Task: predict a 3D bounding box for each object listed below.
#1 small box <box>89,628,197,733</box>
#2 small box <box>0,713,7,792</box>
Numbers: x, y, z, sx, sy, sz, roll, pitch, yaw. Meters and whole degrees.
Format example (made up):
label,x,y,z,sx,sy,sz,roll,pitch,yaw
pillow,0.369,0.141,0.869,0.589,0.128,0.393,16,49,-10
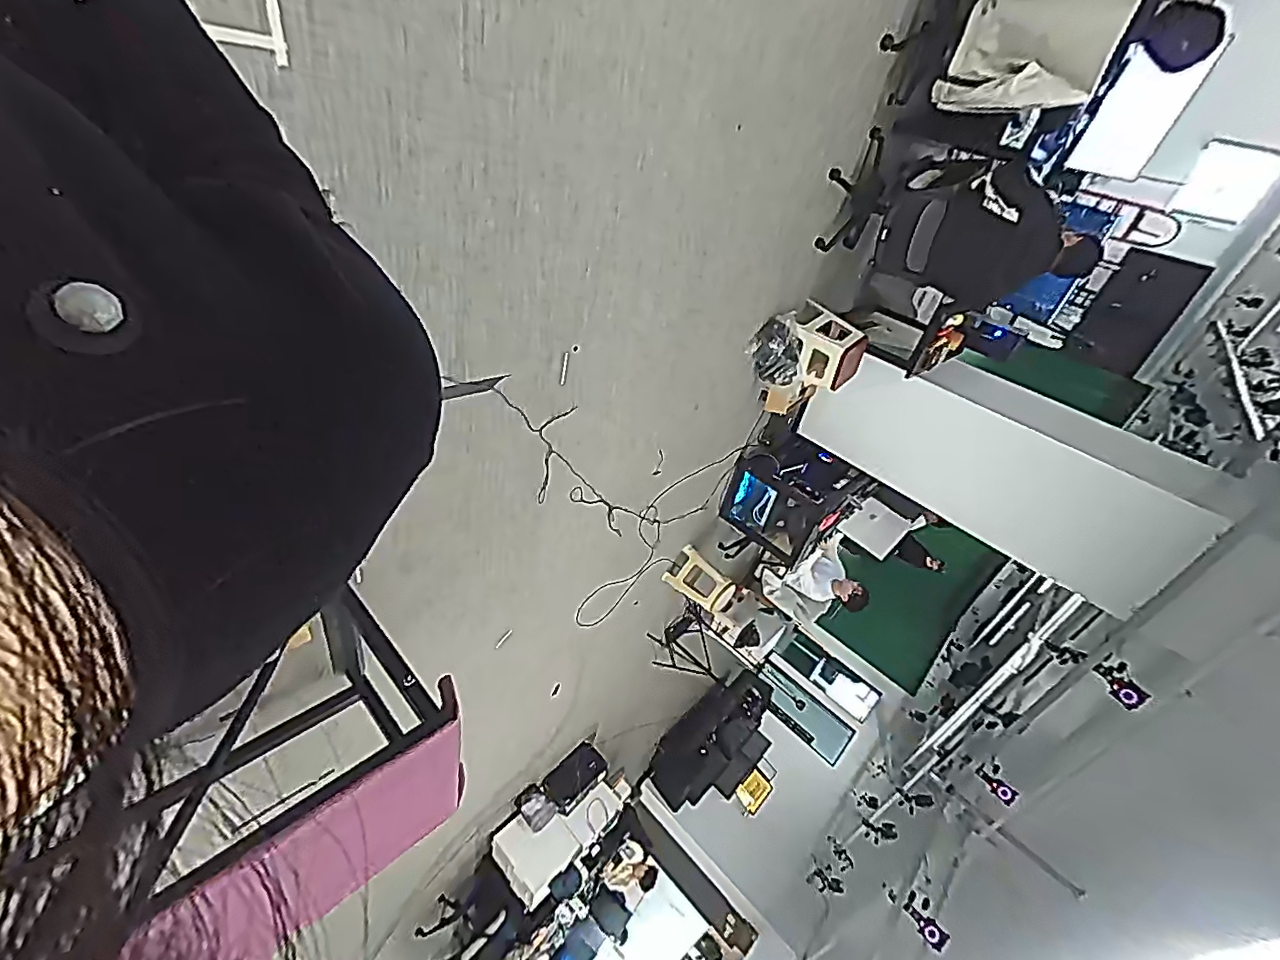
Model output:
label,x,y,z,sx,sy,sz,roll,pitch,yaw
small box,-1.375,0.549,1.500,0.168,0.176,0.179,-26,140,-42
small box,-1.613,0.645,1.252,0.179,0.176,0.168,-7,127,-55
